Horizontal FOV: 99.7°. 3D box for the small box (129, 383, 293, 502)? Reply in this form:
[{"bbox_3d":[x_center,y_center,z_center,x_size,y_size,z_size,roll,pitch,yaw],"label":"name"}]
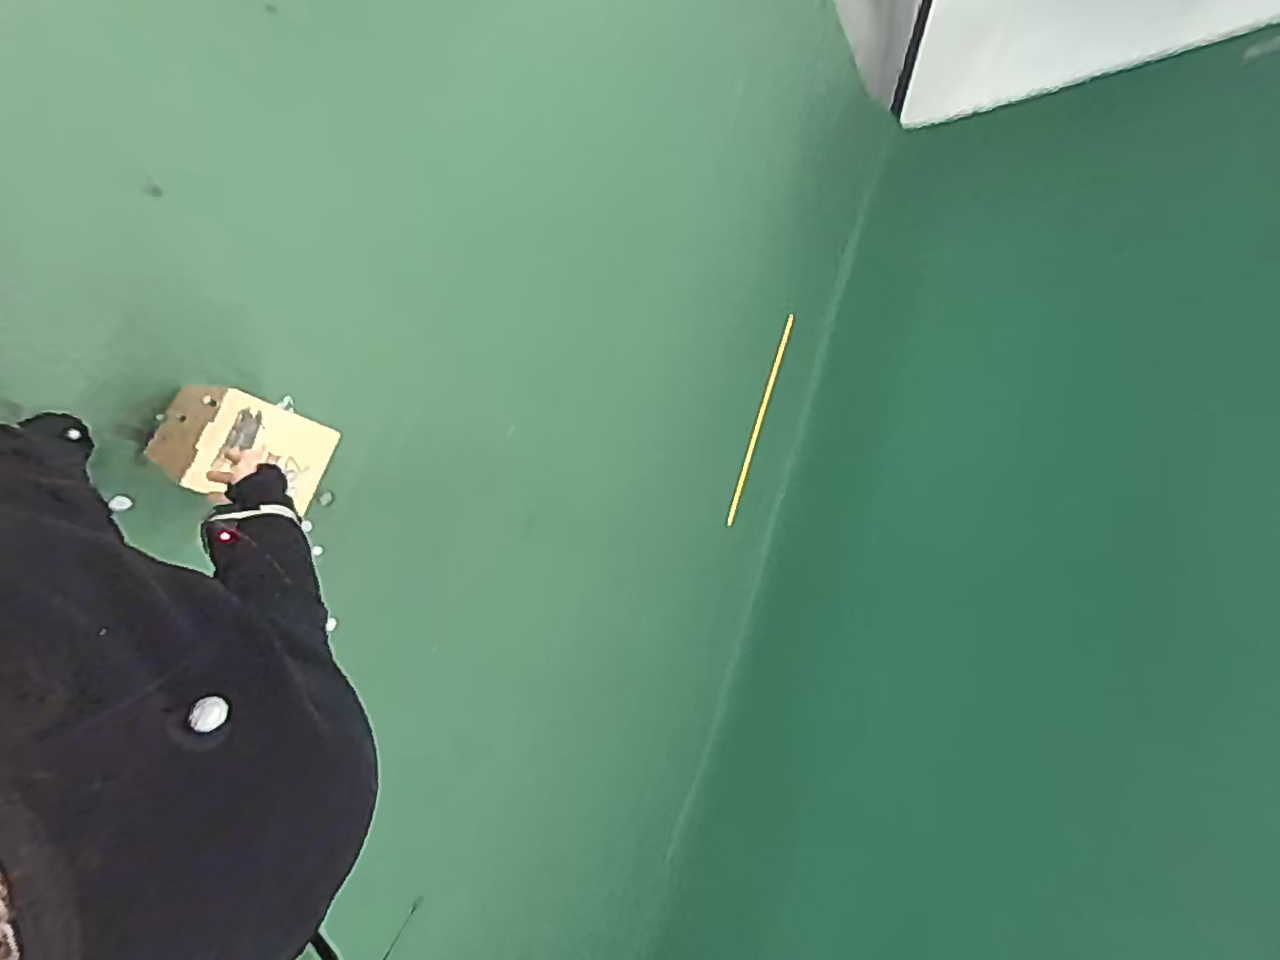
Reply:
[{"bbox_3d":[-0.808,-0.073,1.019,0.179,0.176,0.168,33,72,-48],"label":"small box"}]
